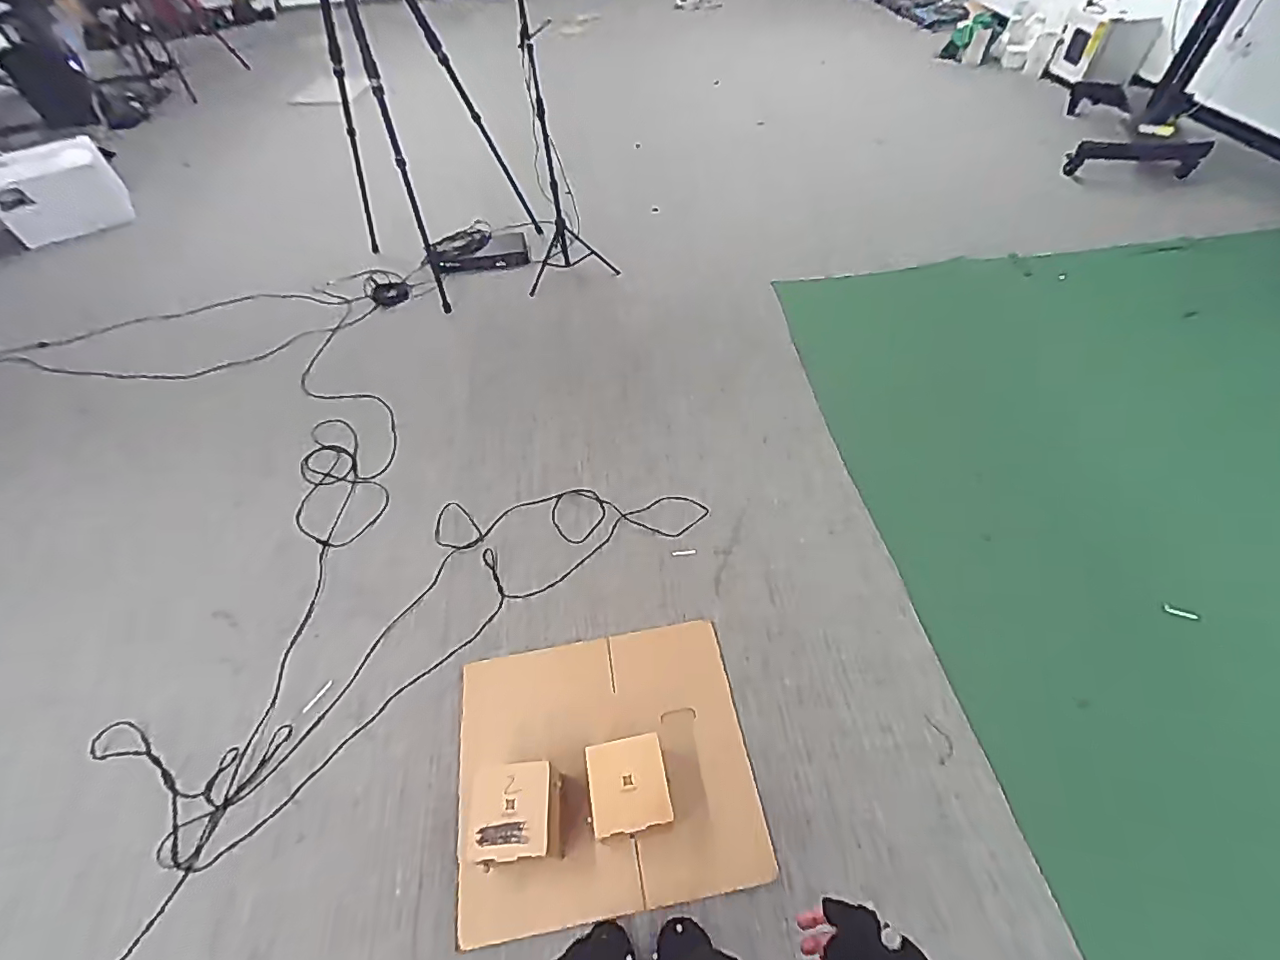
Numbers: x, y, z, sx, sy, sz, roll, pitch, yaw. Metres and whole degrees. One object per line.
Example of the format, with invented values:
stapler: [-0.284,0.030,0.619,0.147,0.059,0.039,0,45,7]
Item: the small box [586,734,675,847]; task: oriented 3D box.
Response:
small box: [-0.022,0.693,1.205,0.168,0.176,0.179,-11,53,-5]
